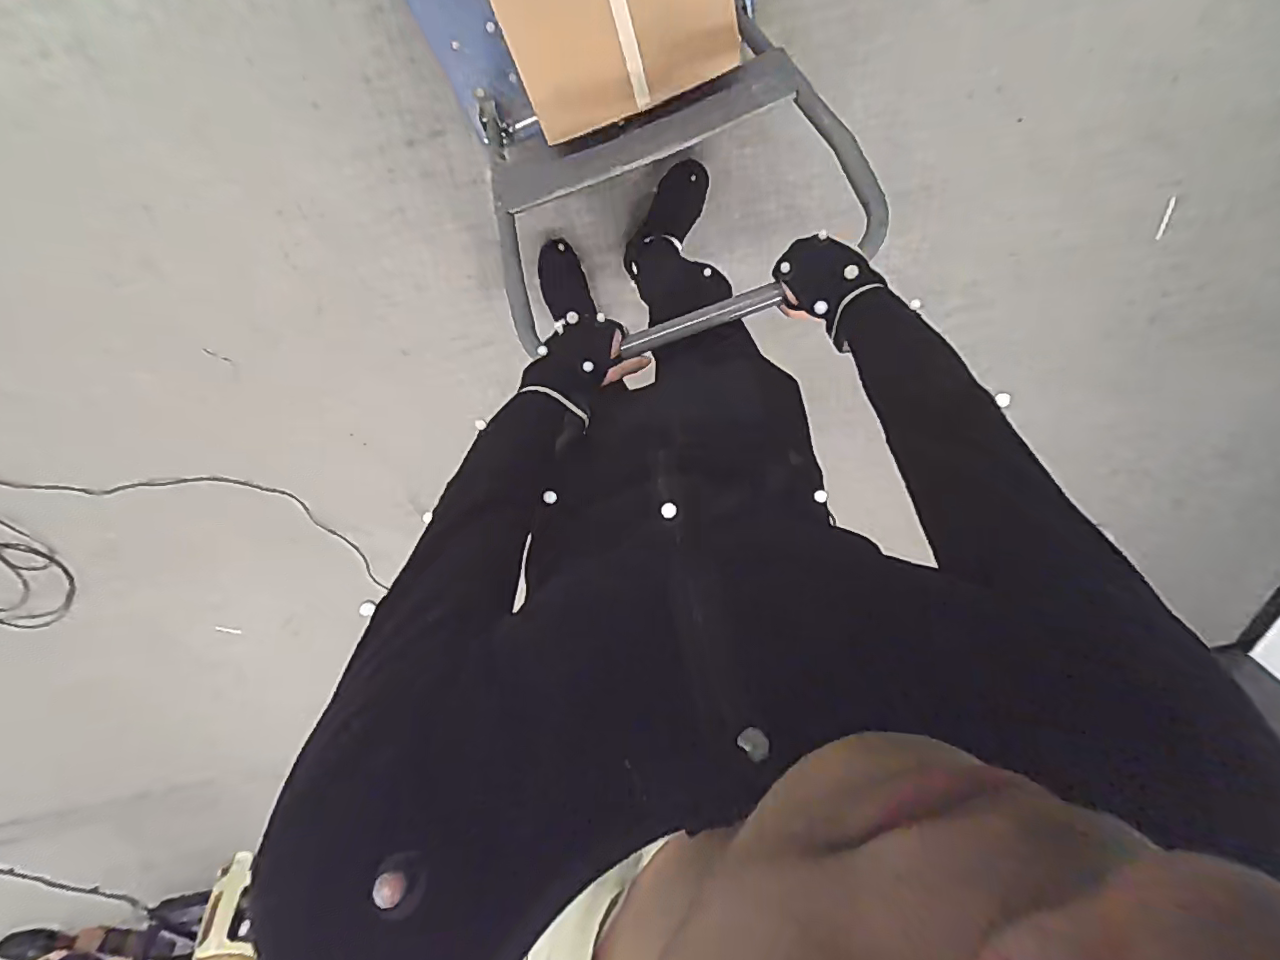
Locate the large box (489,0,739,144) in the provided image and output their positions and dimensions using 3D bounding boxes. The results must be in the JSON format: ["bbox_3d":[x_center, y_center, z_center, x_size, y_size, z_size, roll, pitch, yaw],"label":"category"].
[{"bbox_3d":[-0.078,-0.791,0.756,0.320,0.320,0.408,-19,143,7],"label":"large box"}]
